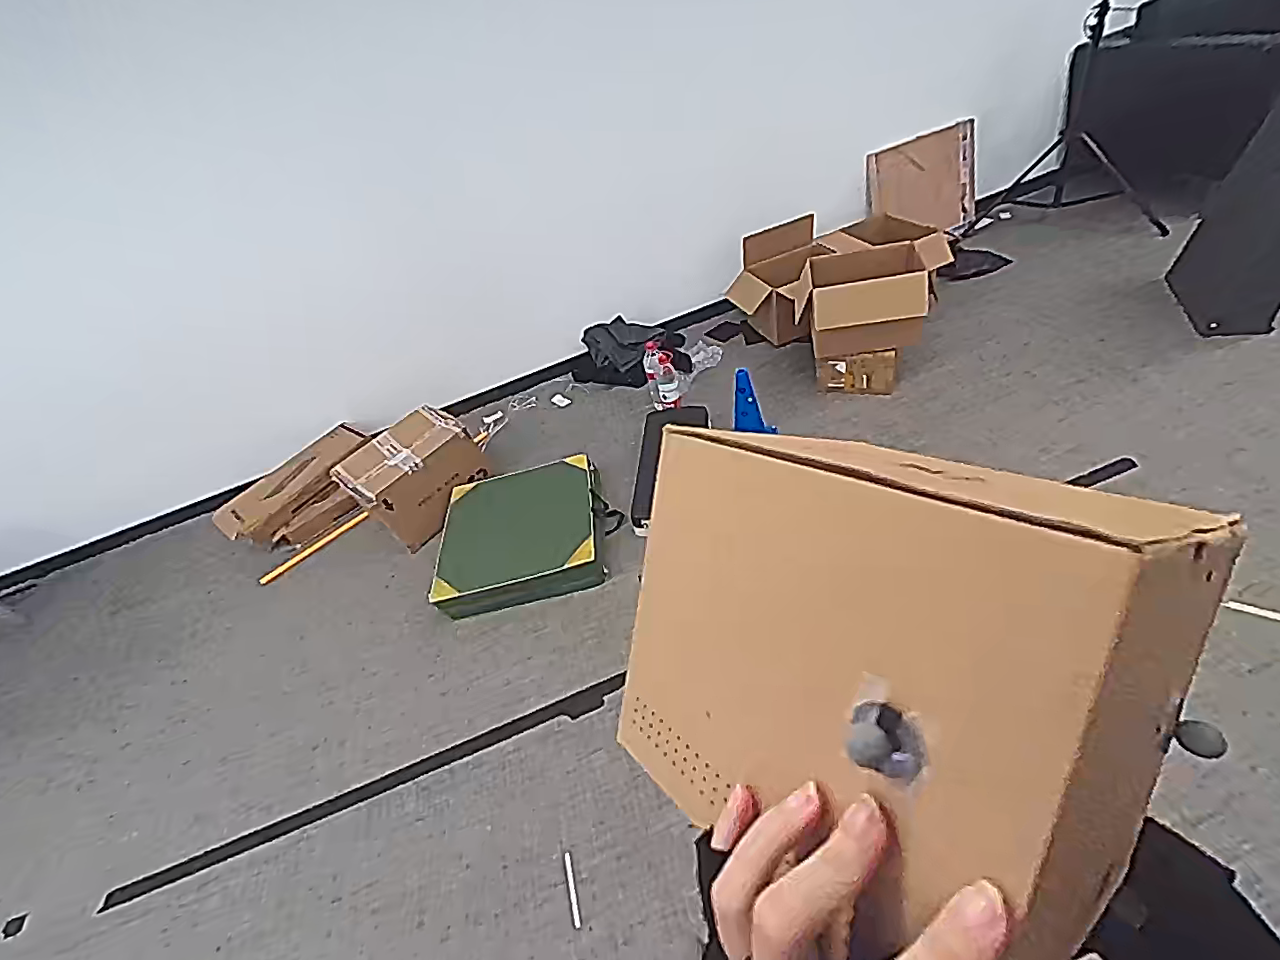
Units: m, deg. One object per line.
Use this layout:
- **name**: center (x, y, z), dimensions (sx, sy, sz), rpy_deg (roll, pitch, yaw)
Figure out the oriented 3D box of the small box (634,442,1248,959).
- **small box**: center (0.115, 0.081, 0.251), dimensions (0.168, 0.176, 0.179), rpy_deg (1, 12, -35)
